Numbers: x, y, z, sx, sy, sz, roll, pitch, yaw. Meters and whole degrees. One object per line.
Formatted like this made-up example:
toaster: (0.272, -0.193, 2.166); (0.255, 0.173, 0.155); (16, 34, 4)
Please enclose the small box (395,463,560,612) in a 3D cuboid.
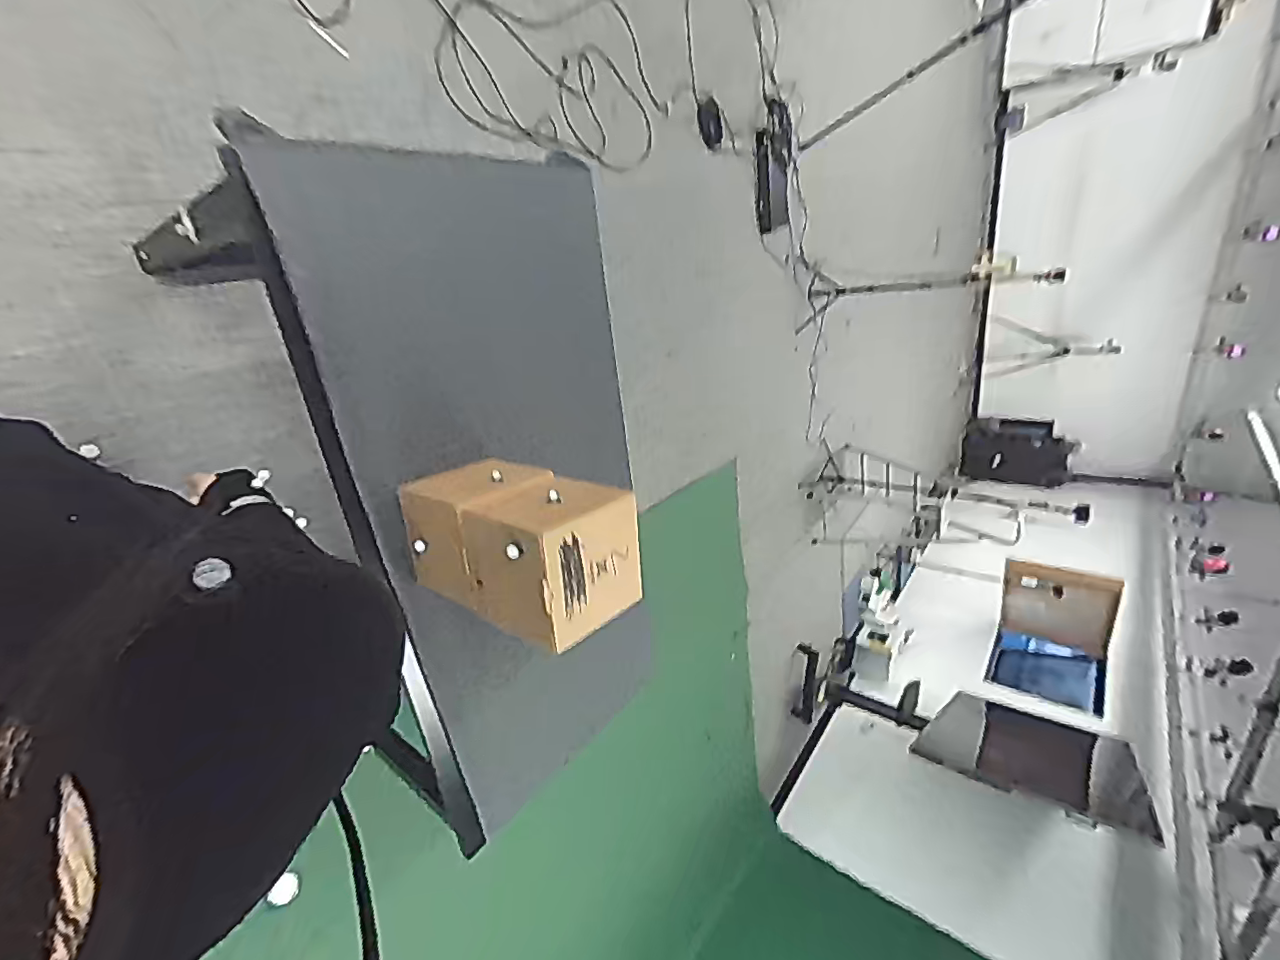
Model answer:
small box: (-0.251, 0.077, 0.851); (0.179, 0.176, 0.168); (-24, 116, -47)
